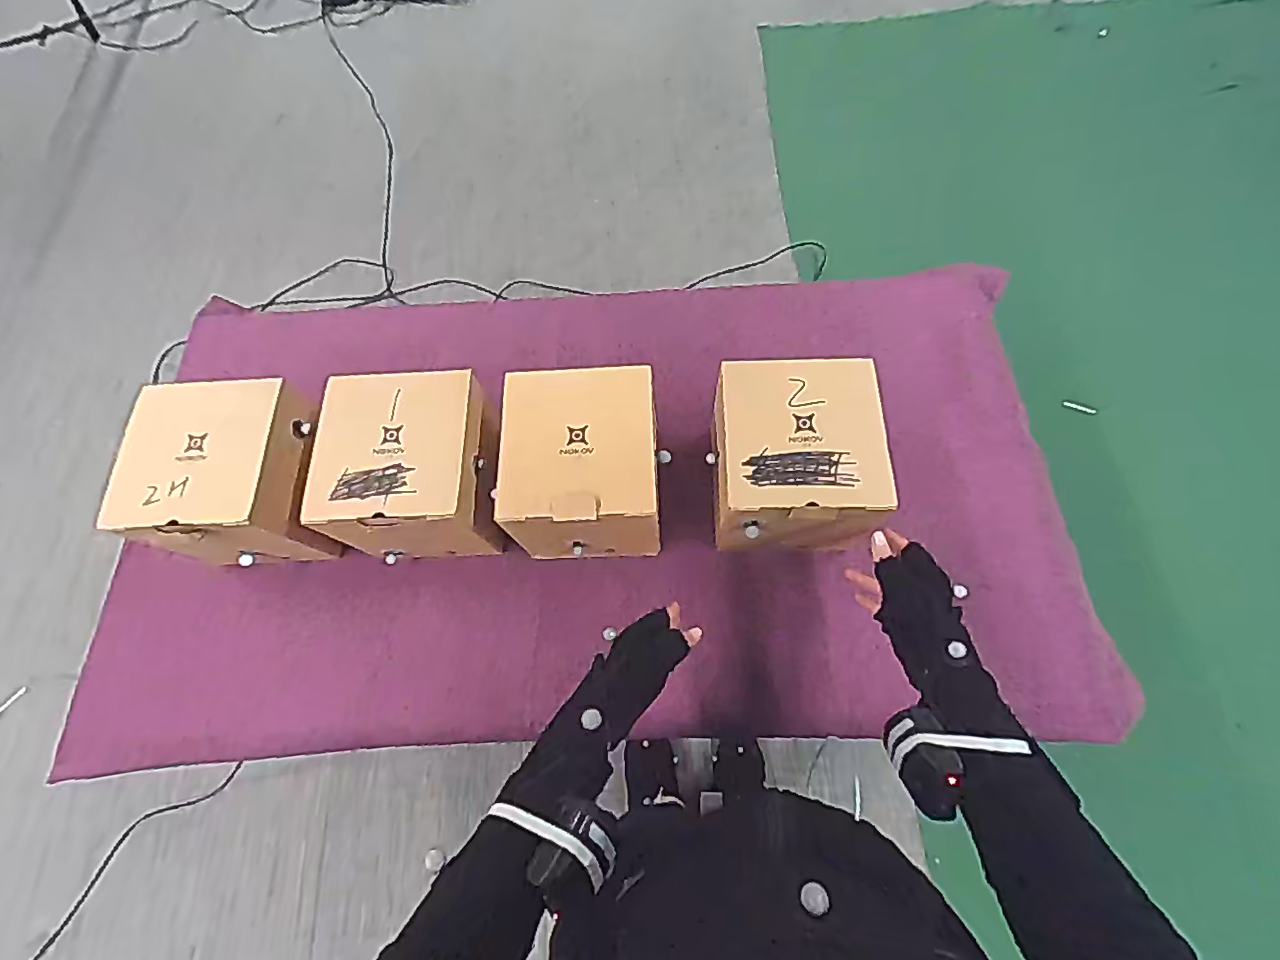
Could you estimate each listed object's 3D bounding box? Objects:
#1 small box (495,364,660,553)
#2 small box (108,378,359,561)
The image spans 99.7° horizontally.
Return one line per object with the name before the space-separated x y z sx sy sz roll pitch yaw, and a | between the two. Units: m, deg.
small box | -0.063 -0.018 0.652 0.168 0.176 0.179 -3 70 4
small box | -0.477 -0.005 0.670 0.168 0.176 0.179 -3 70 3
